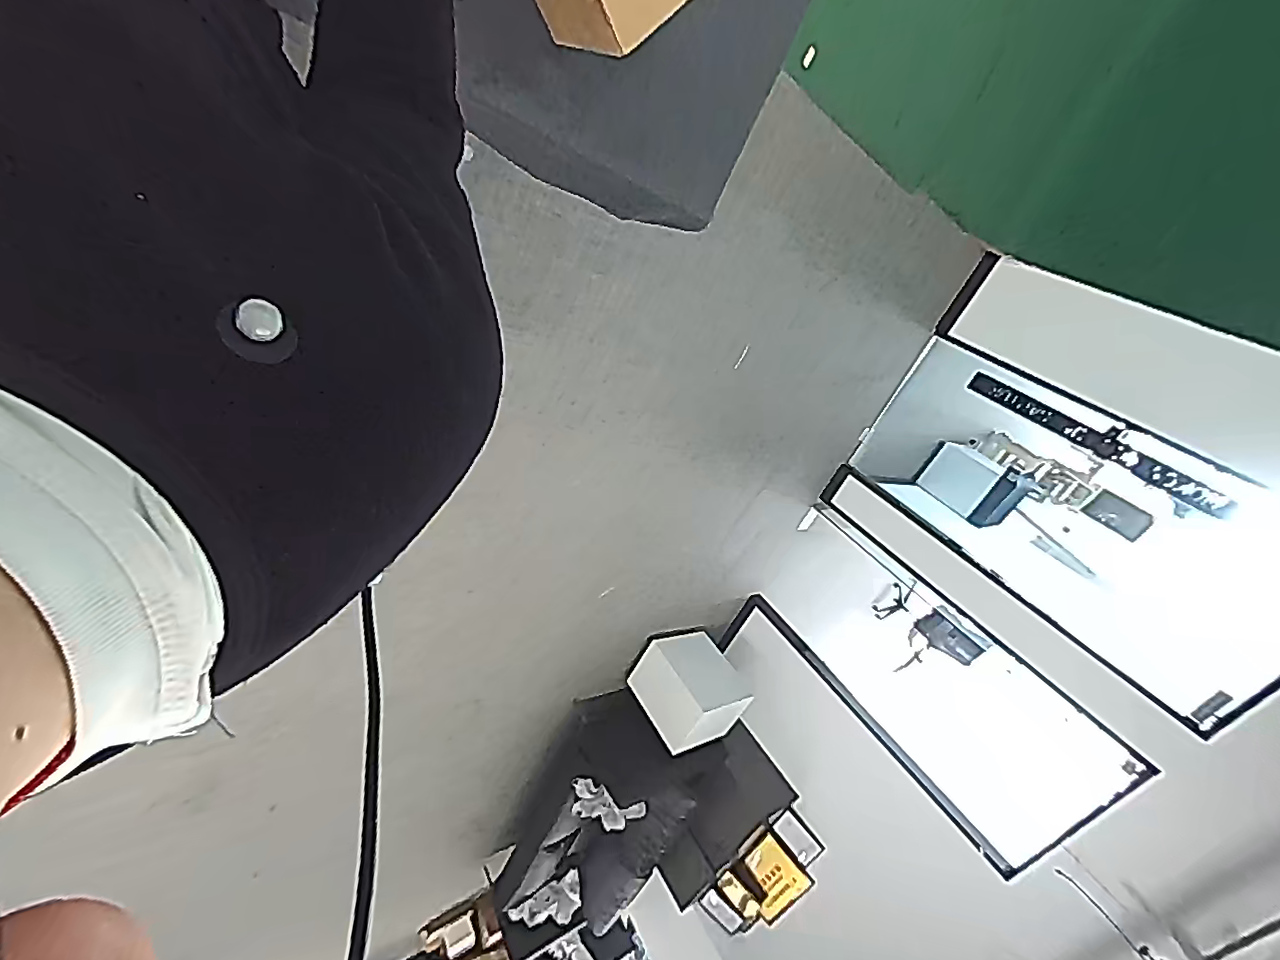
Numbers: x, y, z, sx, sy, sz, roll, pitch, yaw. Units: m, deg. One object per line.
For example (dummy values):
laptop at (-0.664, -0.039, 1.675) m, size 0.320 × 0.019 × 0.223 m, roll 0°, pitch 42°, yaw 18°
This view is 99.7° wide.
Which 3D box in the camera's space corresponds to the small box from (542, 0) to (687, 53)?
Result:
small box at (-0.032, -0.612, 0.588) m, size 0.179 × 0.176 × 0.168 m, roll -40°, pitch 143°, yaw -1°
